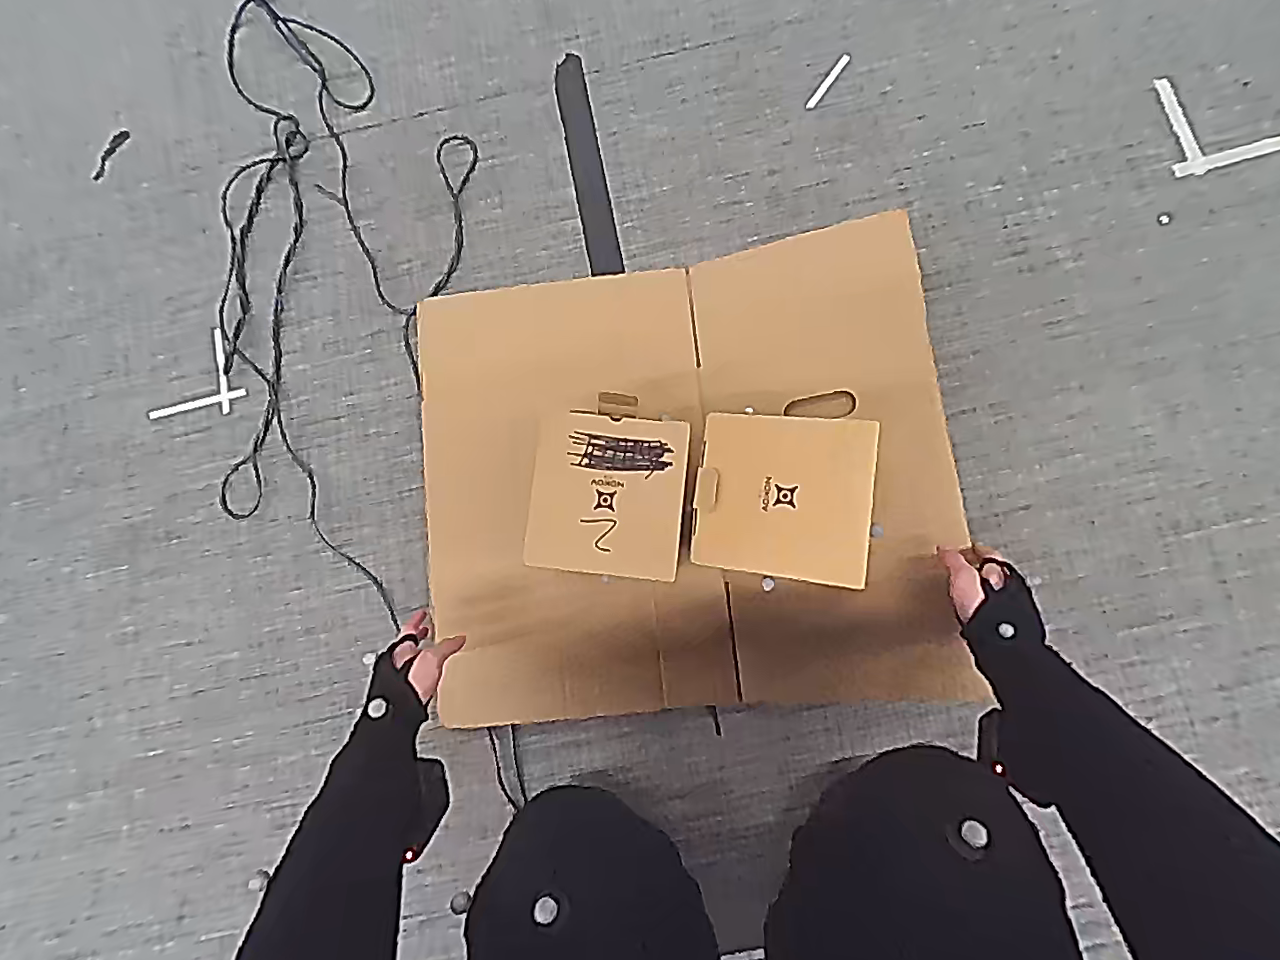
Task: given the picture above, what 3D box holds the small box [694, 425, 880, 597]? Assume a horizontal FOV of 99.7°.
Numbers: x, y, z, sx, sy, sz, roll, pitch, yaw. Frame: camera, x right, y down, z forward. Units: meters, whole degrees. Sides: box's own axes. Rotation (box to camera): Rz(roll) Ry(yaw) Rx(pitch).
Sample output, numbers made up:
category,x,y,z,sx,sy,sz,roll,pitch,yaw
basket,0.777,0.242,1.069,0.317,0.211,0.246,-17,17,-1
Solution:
category,x,y,z,sx,sy,sz,roll,pitch,yaw
small box,0.176,0.036,0.638,0.179,0.176,0.168,5,85,21
